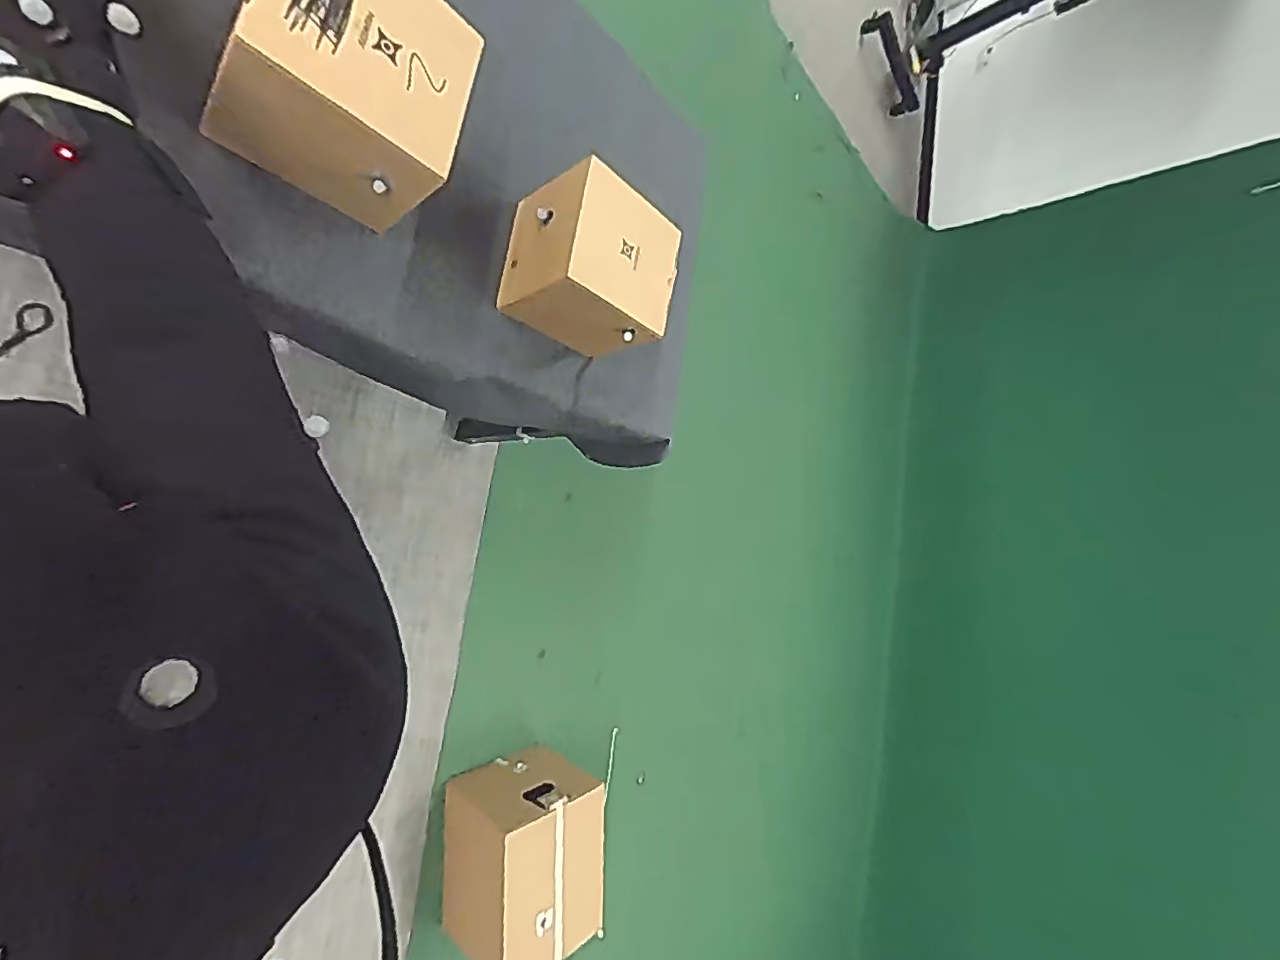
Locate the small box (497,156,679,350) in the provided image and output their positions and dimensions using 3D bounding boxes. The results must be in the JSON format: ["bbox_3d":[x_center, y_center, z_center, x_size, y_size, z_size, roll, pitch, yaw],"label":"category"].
[{"bbox_3d":[-0.073,-0.295,0.753,0.179,0.176,0.168,19,77,-45],"label":"small box"}]
